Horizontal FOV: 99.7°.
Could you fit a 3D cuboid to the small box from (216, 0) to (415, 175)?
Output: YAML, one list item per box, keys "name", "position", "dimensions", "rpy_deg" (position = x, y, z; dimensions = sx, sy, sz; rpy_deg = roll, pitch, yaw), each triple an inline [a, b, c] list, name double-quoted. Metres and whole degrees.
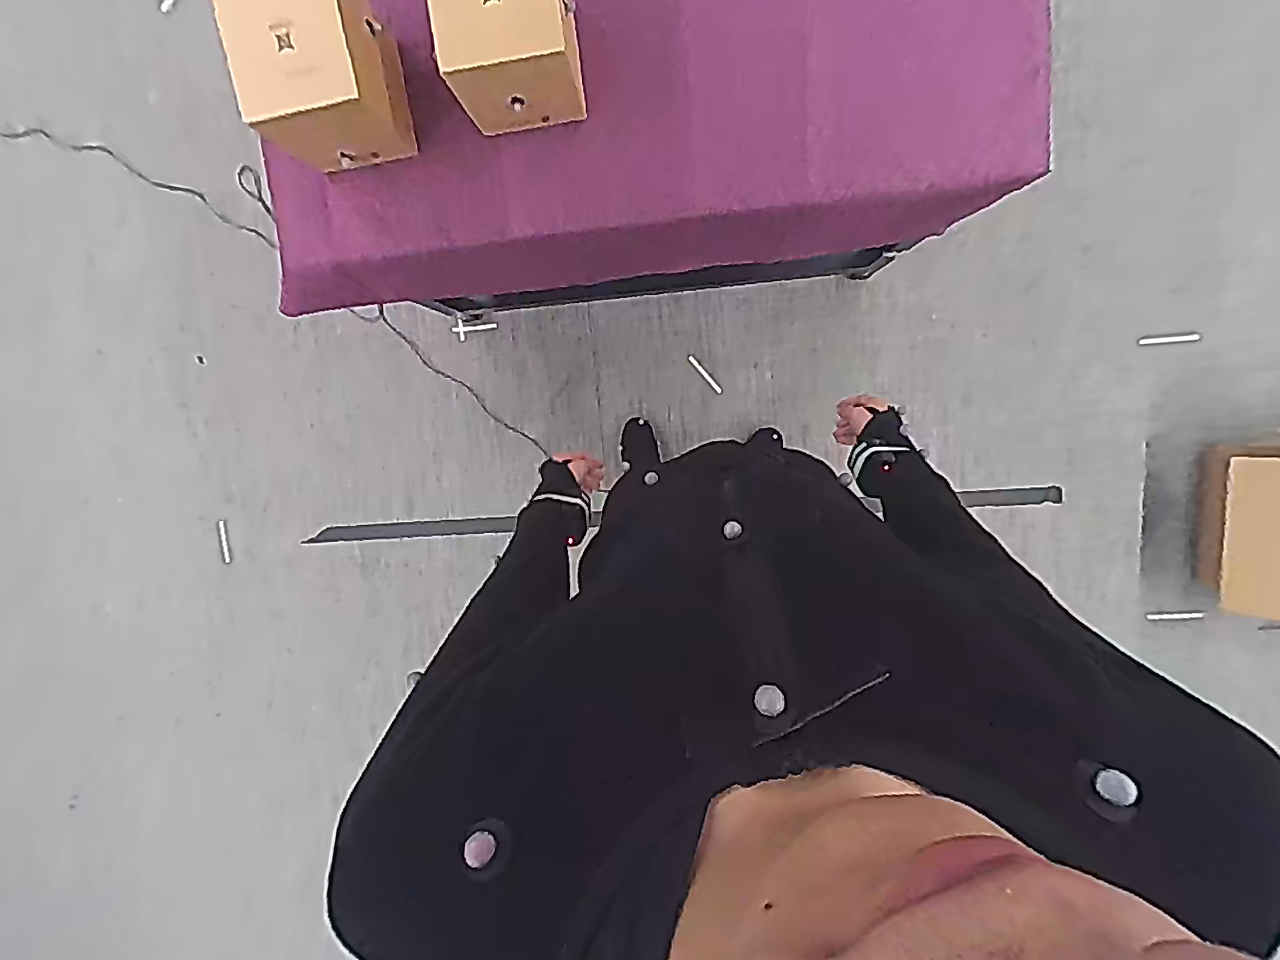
- name: "small box"
  position: [-0.450, -0.575, 0.775]
  dimensions: [0.168, 0.176, 0.179]
  rpy_deg: [-9, 97, 5]

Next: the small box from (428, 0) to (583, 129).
- name: "small box"
  position: [-0.180, -0.620, 0.752]
  dimensions: [0.168, 0.176, 0.179]
  rpy_deg: [-7, 97, 4]
